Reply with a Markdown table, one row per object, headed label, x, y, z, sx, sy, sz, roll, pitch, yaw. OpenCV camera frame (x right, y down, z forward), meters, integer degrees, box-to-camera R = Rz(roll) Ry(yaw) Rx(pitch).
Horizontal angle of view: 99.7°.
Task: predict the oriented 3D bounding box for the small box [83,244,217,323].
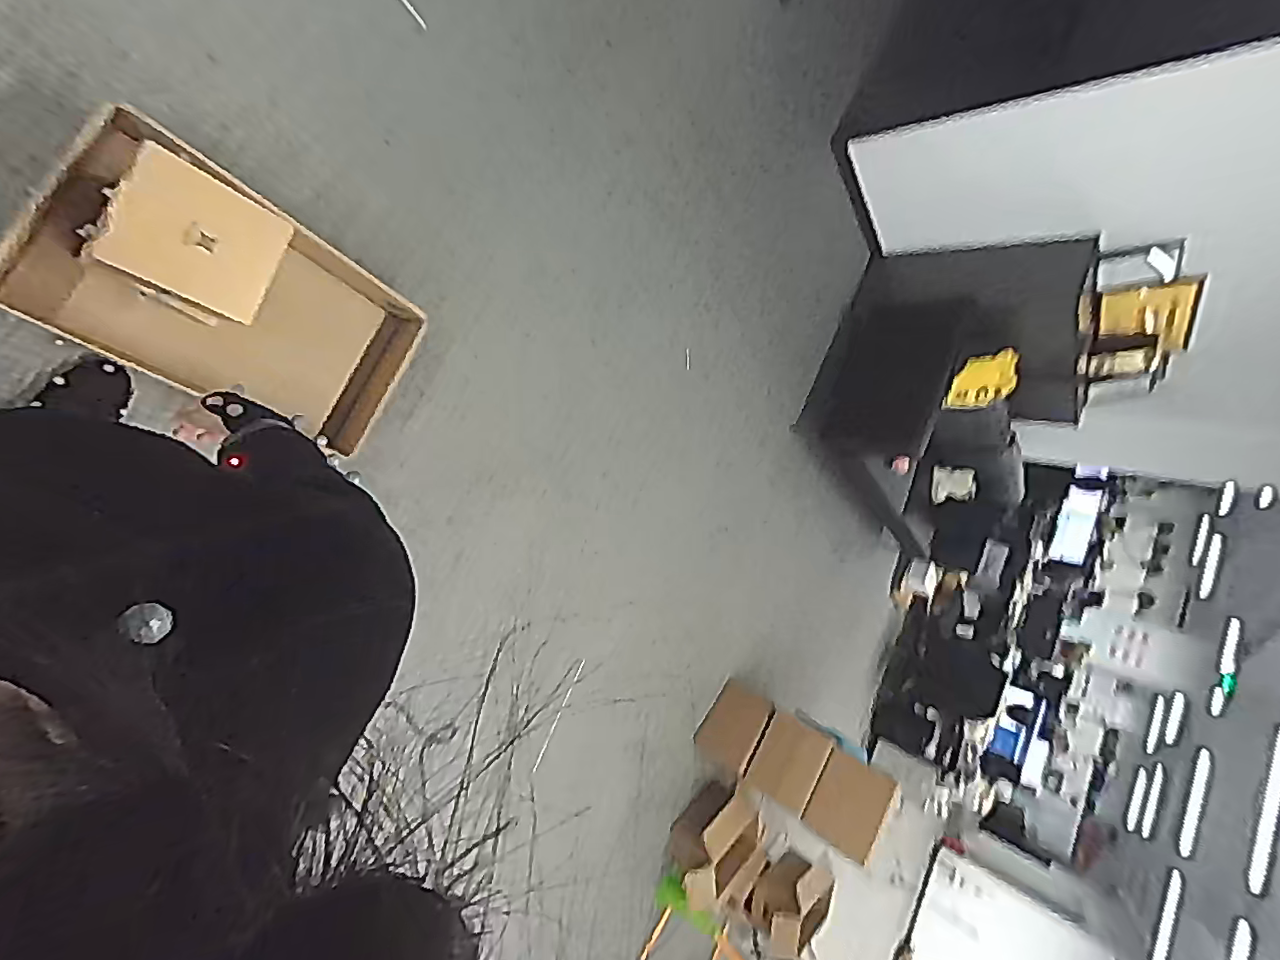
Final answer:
| label | x | y | z | sx | sy | sz | roll | pitch | yaw |
| --- | --- | --- | --- | --- | --- | --- | --- | --- | --- |
| small box | -0.767 | -0.383 | 0.896 | 0.168 | 0.176 | 0.179 | 37 | 76 | -47 |

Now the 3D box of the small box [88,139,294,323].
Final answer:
| label | x | y | z | sx | sy | sz | roll | pitch | yaw |
| --- | --- | --- | --- | --- | --- | --- | --- | --- | --- |
| small box | -0.652 | -0.350 | 0.786 | 0.179 | 0.176 | 0.168 | 26 | 85 | -48 |
